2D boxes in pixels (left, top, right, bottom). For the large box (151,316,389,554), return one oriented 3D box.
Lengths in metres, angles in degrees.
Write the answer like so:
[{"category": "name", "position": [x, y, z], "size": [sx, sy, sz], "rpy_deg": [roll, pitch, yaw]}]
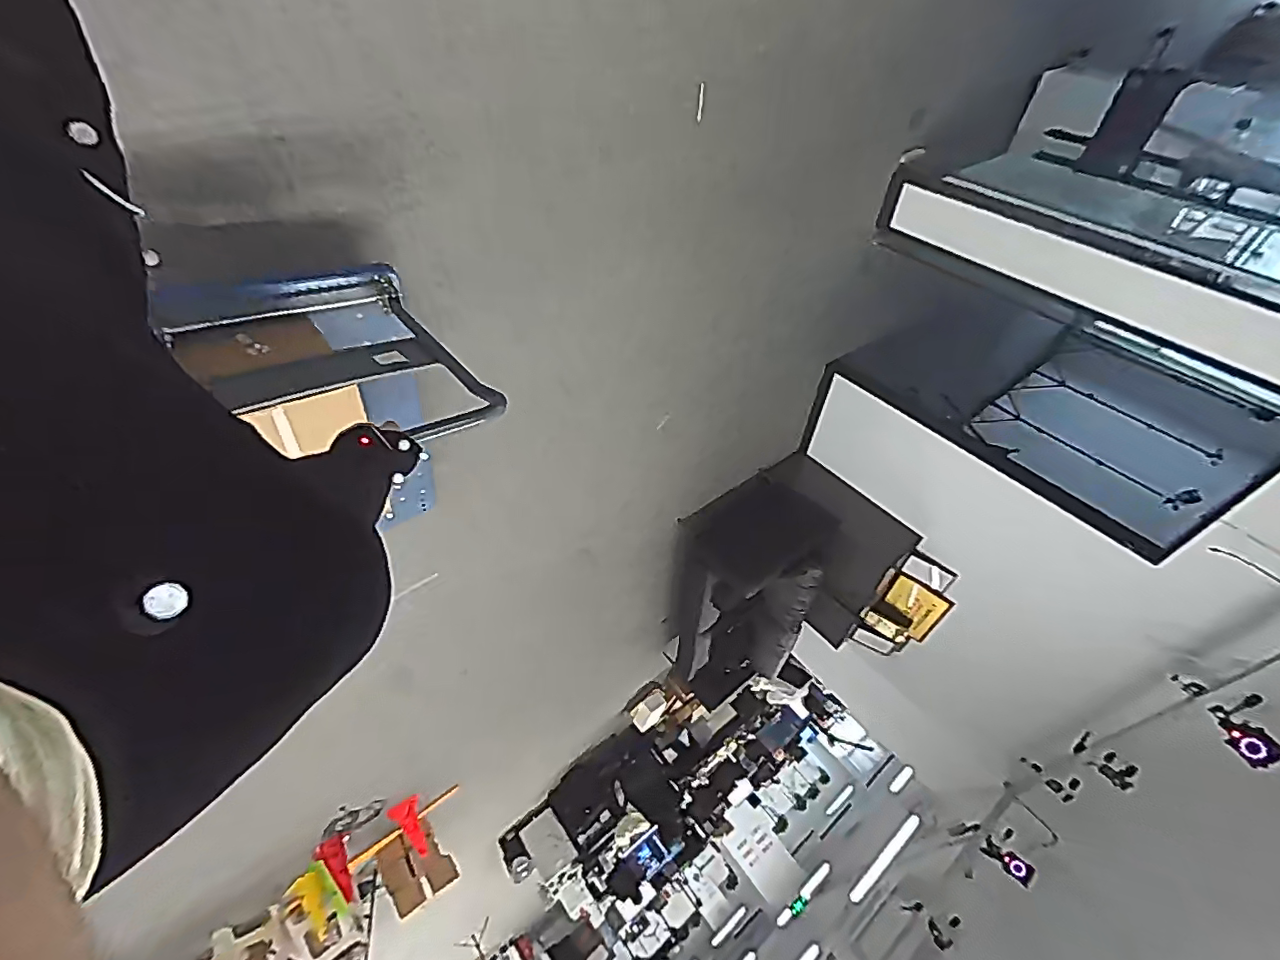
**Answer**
[{"category": "large box", "position": [-0.844, -0.111, 1.273], "size": [0.320, 0.320, 0.408], "rpy_deg": [-25, 144, -31]}]
